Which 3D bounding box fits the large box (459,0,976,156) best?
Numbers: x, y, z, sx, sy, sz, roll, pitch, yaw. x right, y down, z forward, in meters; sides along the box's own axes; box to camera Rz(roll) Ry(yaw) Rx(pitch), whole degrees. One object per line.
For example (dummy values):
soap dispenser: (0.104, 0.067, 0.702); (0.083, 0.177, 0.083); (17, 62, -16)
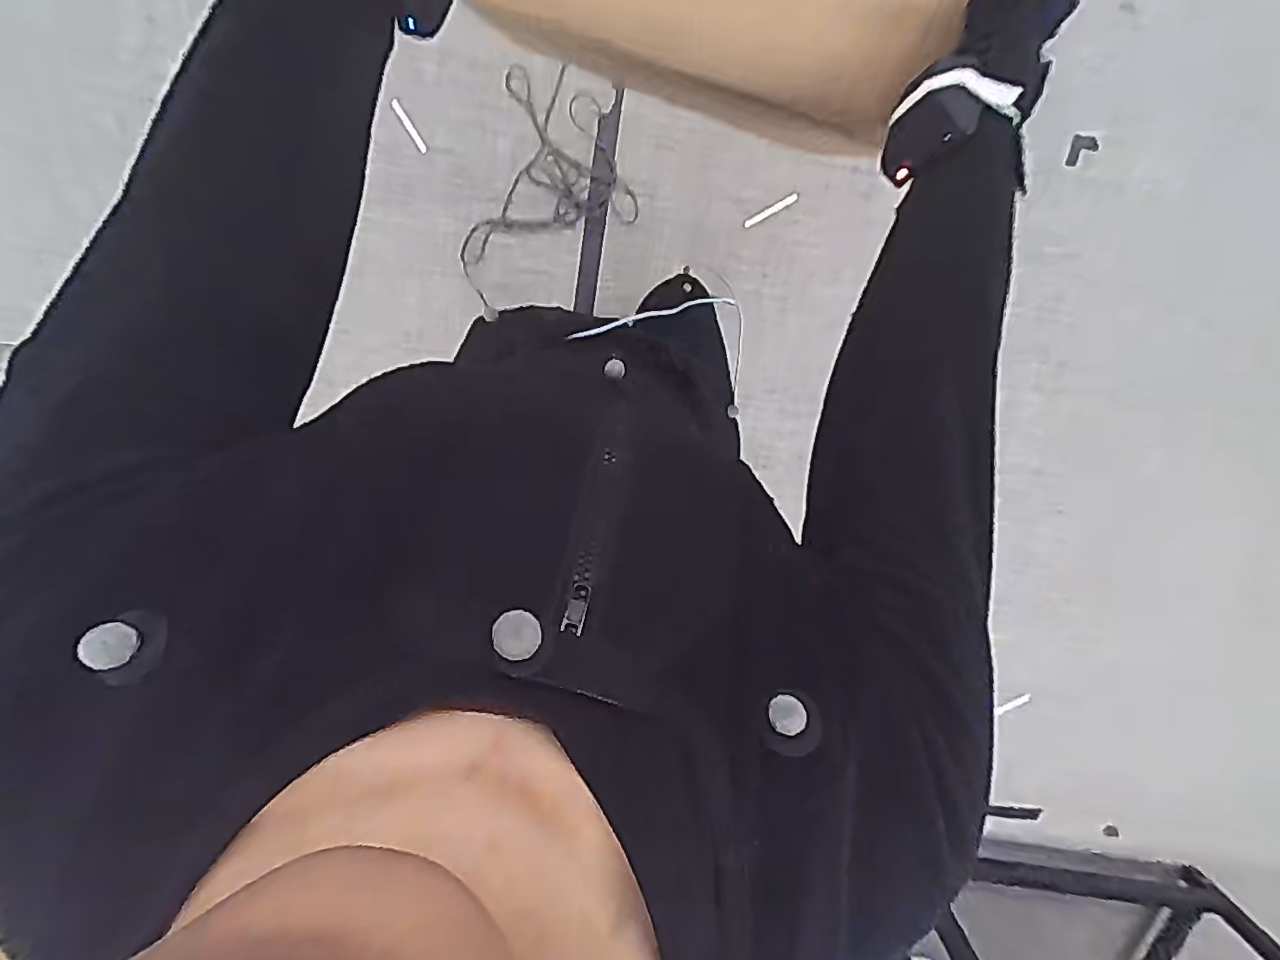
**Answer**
large box: (0.080, -0.530, 0.498); (0.408, 0.320, 0.320); (14, 120, -9)
